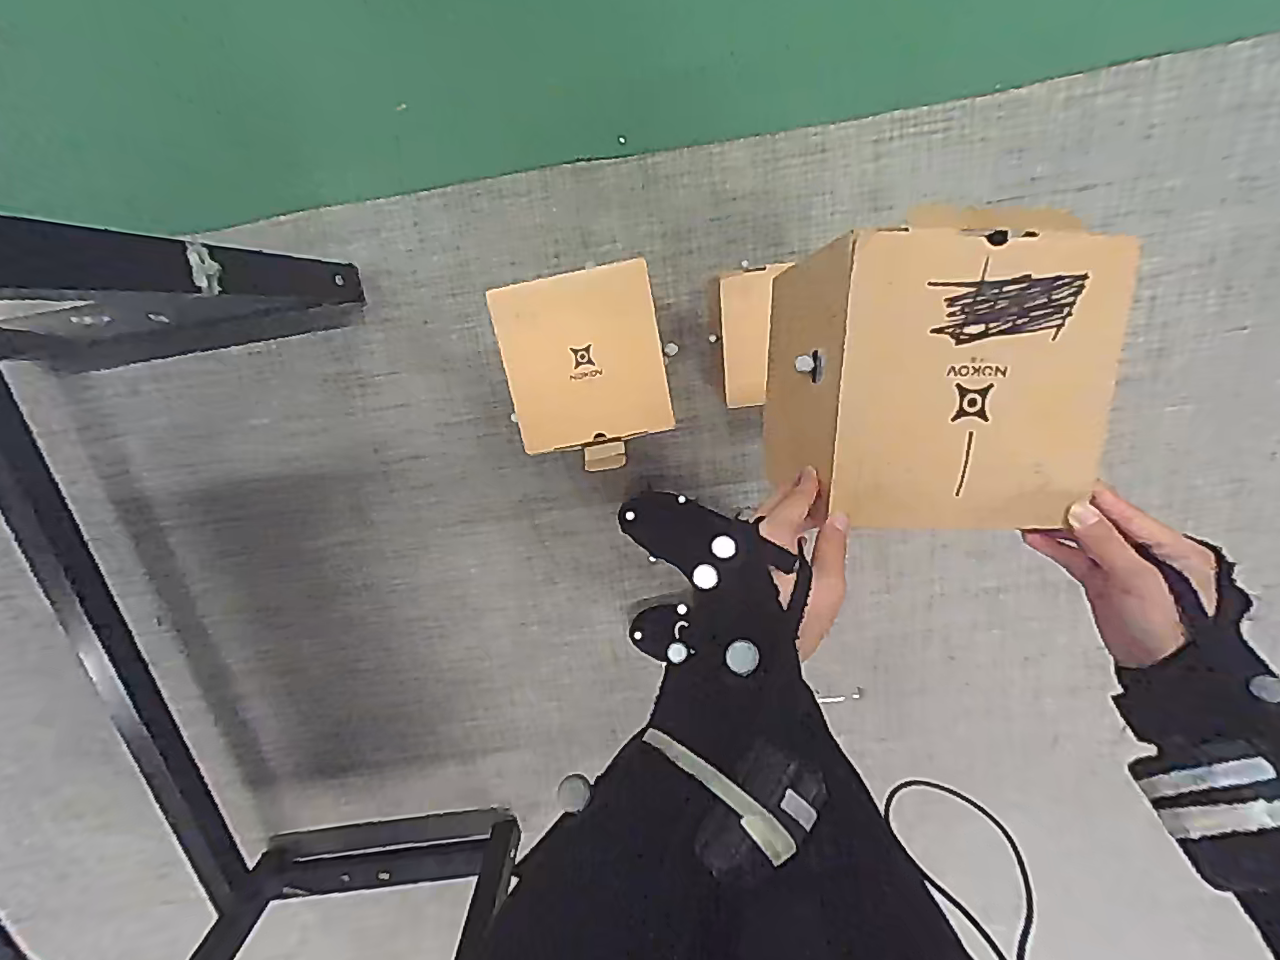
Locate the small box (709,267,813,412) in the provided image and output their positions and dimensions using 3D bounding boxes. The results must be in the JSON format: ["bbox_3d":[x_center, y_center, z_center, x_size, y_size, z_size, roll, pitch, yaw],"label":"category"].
[{"bbox_3d":[0.195,-0.206,0.786,0.168,0.176,0.179,-6,108,3],"label":"small box"}]

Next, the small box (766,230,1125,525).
[{"bbox_3d":[0.198,-0.072,0.405,0.168,0.176,0.179,0,101,-1],"label":"small box"}]

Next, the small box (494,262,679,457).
[{"bbox_3d":[-0.054,-0.141,0.636,0.168,0.176,0.179,-11,107,3],"label":"small box"}]
